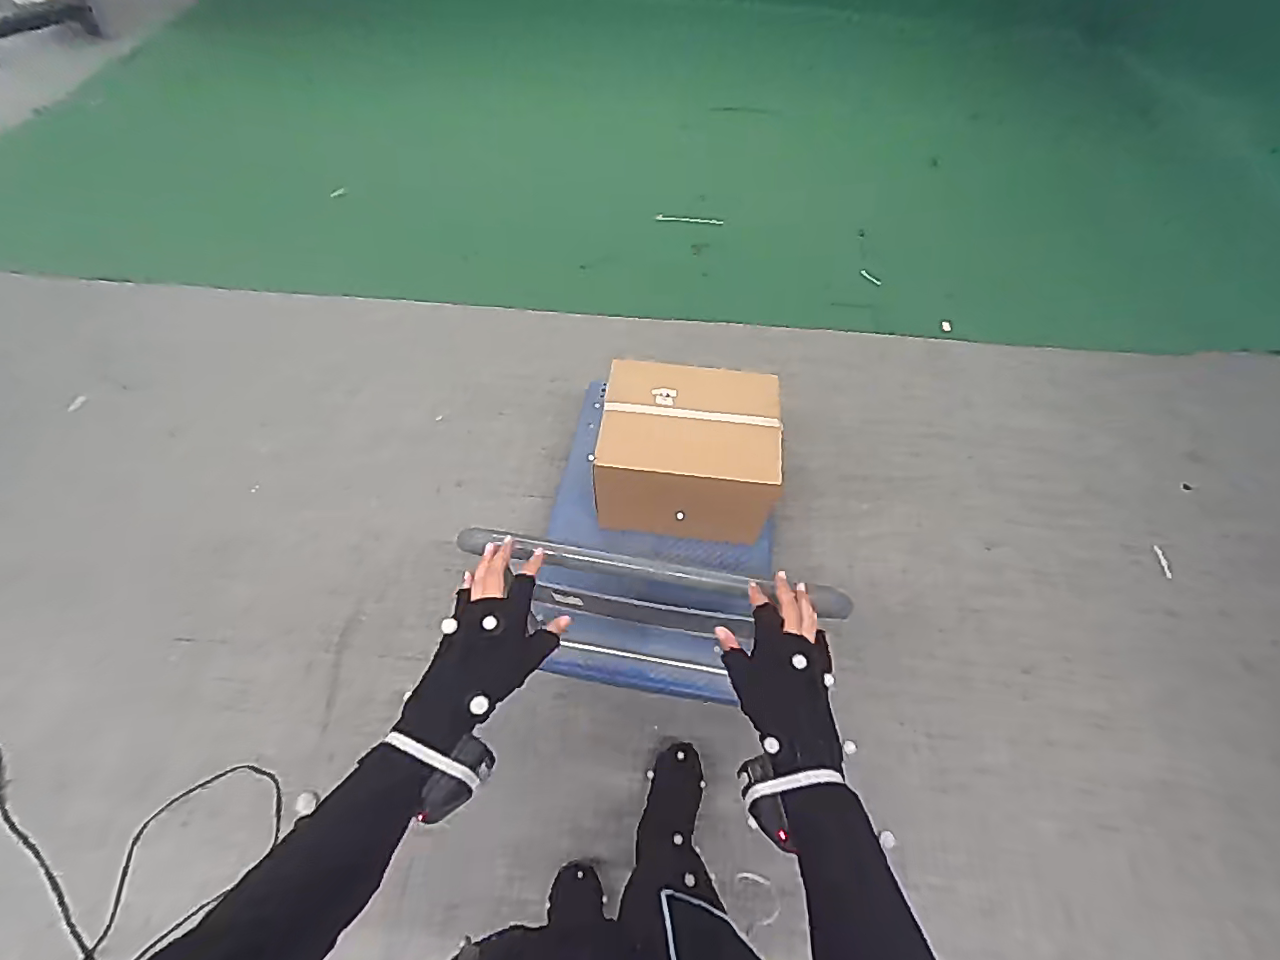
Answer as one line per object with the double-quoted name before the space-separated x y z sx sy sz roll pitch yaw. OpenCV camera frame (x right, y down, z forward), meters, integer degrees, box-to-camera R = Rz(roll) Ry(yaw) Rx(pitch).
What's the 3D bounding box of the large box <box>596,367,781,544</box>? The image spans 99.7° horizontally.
"large box" 0.117 -0.053 1.358 0.408 0.320 0.320 6 57 3
